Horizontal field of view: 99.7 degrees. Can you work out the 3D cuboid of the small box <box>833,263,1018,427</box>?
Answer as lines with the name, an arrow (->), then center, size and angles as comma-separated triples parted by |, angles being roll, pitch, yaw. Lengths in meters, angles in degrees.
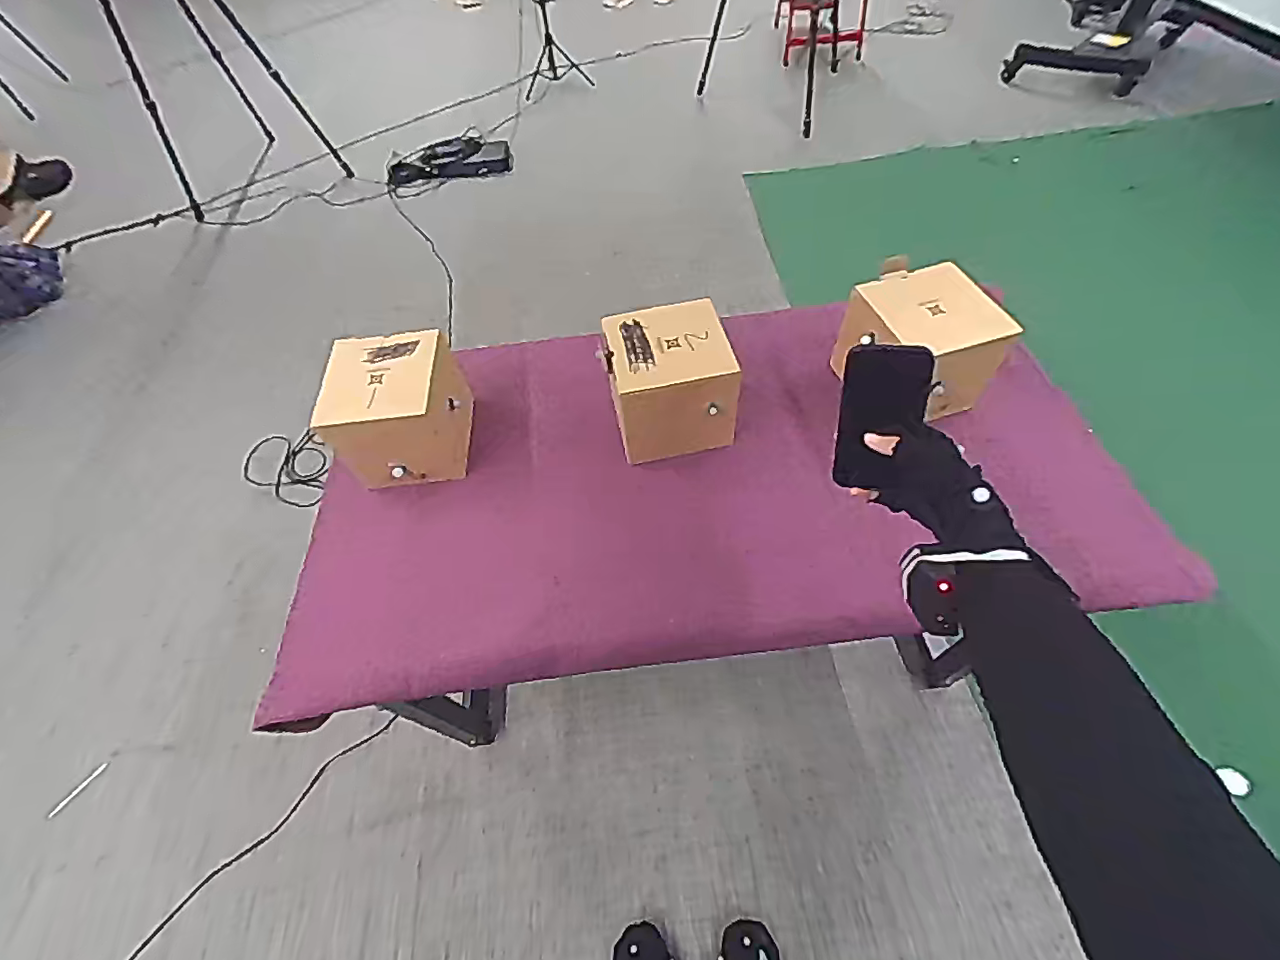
small box -> 0.431, -0.202, 0.852 | 0.168, 0.176, 0.179 | -16, 56, -5

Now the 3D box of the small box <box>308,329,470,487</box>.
small box -> -0.378, -0.111, 0.855 | 0.168, 0.176, 0.179 | -6, 58, 1
